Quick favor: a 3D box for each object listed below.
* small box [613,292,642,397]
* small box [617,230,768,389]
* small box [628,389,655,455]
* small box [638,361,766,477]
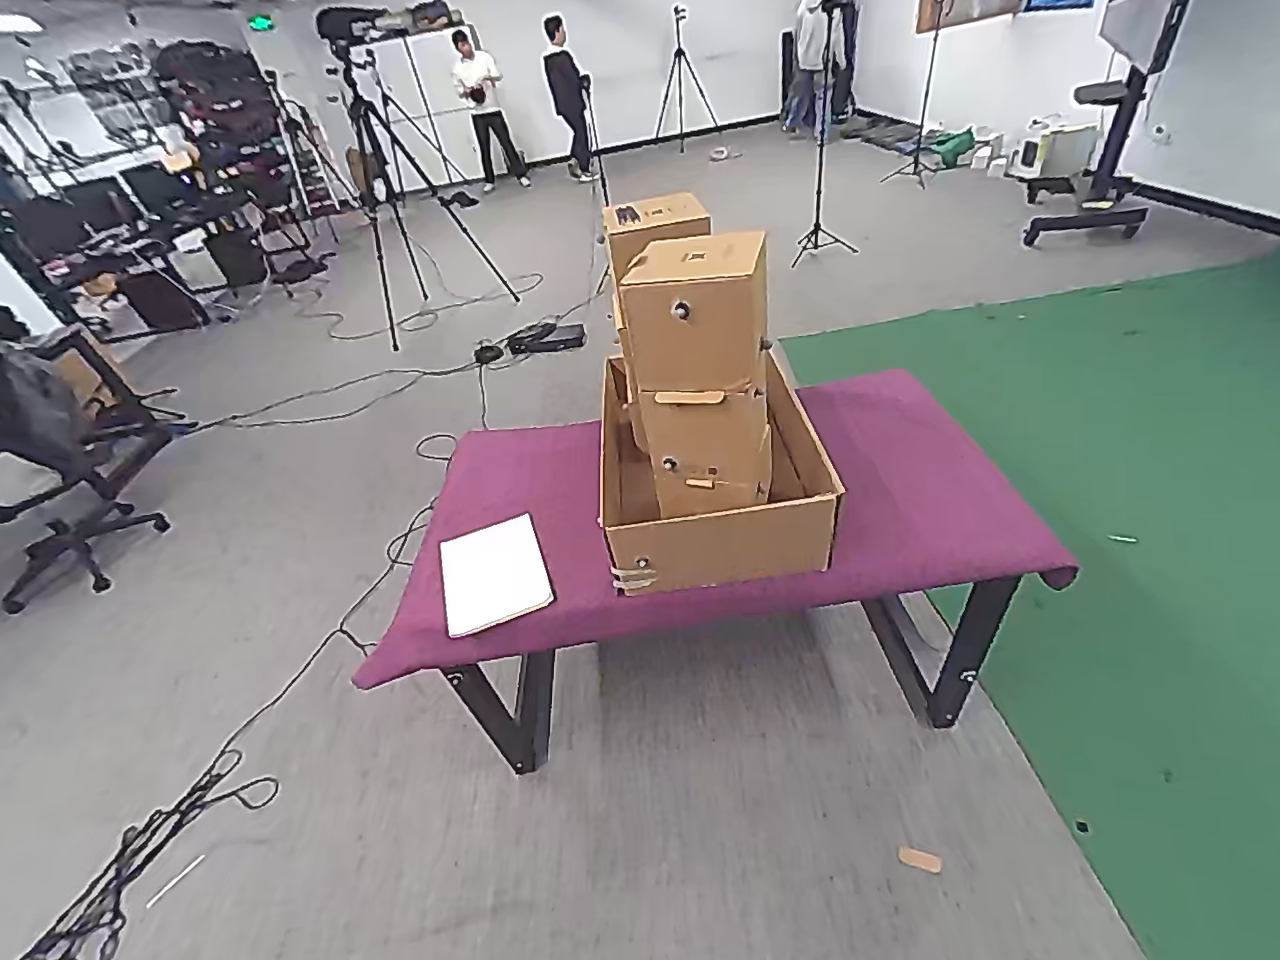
[{"bbox_3d":[0.047,-0.287,1.110,0.179,0.176,0.168,-10,41,2],"label":"small box"},{"bbox_3d":[0.087,-0.243,0.785,0.179,0.176,0.168,3,42,19],"label":"small box"},{"bbox_3d":[0.066,-0.169,1.219,0.168,0.176,0.179,-8,42,4],"label":"small box"},{"bbox_3d":[0.113,-0.122,0.890,0.168,0.176,0.179,5,41,21],"label":"small box"}]
